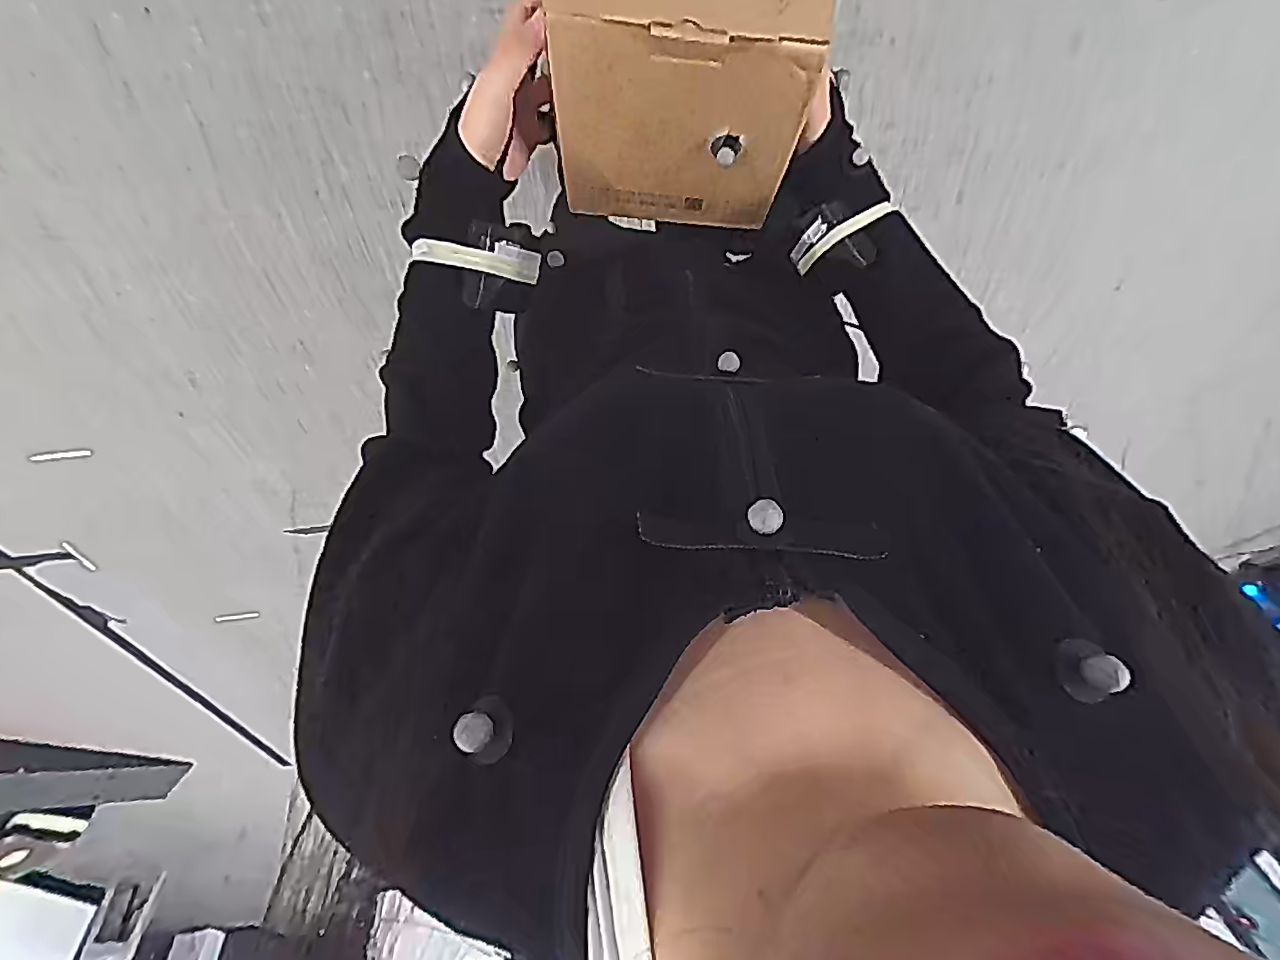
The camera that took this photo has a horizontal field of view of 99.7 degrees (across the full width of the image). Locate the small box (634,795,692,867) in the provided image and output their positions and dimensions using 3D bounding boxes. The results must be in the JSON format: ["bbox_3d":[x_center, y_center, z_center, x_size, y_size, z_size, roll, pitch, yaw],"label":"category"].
[{"bbox_3d":[0.079,1.226,1.894,0.179,0.176,0.168,-8,134,-2],"label":"small box"}]
